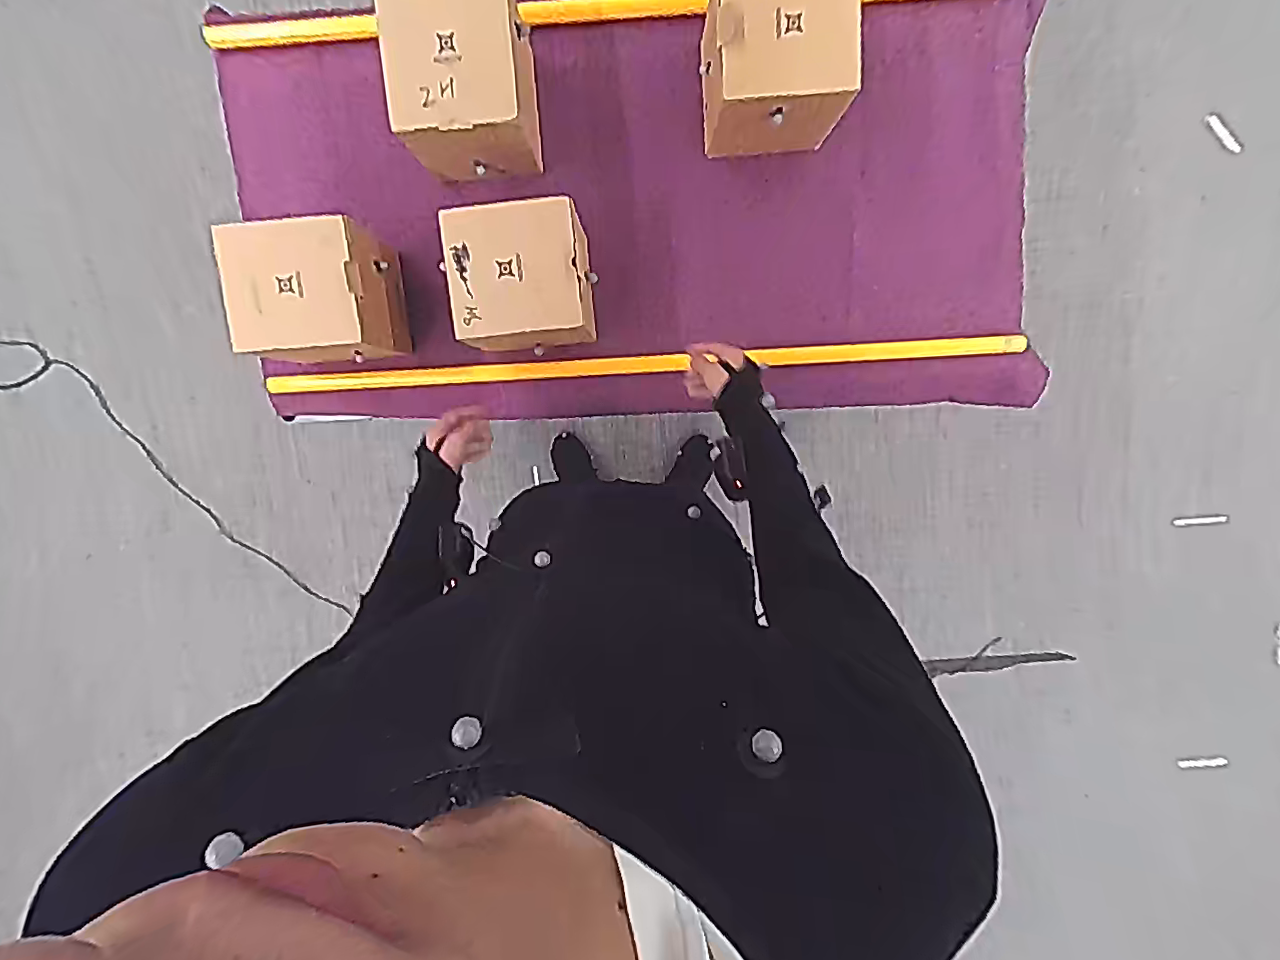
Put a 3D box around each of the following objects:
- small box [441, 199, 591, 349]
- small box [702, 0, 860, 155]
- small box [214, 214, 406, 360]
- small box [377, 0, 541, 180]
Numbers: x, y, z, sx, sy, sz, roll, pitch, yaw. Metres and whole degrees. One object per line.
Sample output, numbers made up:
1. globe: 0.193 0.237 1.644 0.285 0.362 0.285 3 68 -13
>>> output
1. small box: -0.166 -0.287 0.785 0.179 0.176 0.168 -5 97 1
2. small box: 0.184 -0.574 0.743 0.179 0.176 0.168 -3 99 2
3. small box: -0.461 -0.270 0.789 0.179 0.176 0.168 -5 97 -1
4. small box: -0.238 -0.547 0.751 0.168 0.176 0.179 -3 99 2
